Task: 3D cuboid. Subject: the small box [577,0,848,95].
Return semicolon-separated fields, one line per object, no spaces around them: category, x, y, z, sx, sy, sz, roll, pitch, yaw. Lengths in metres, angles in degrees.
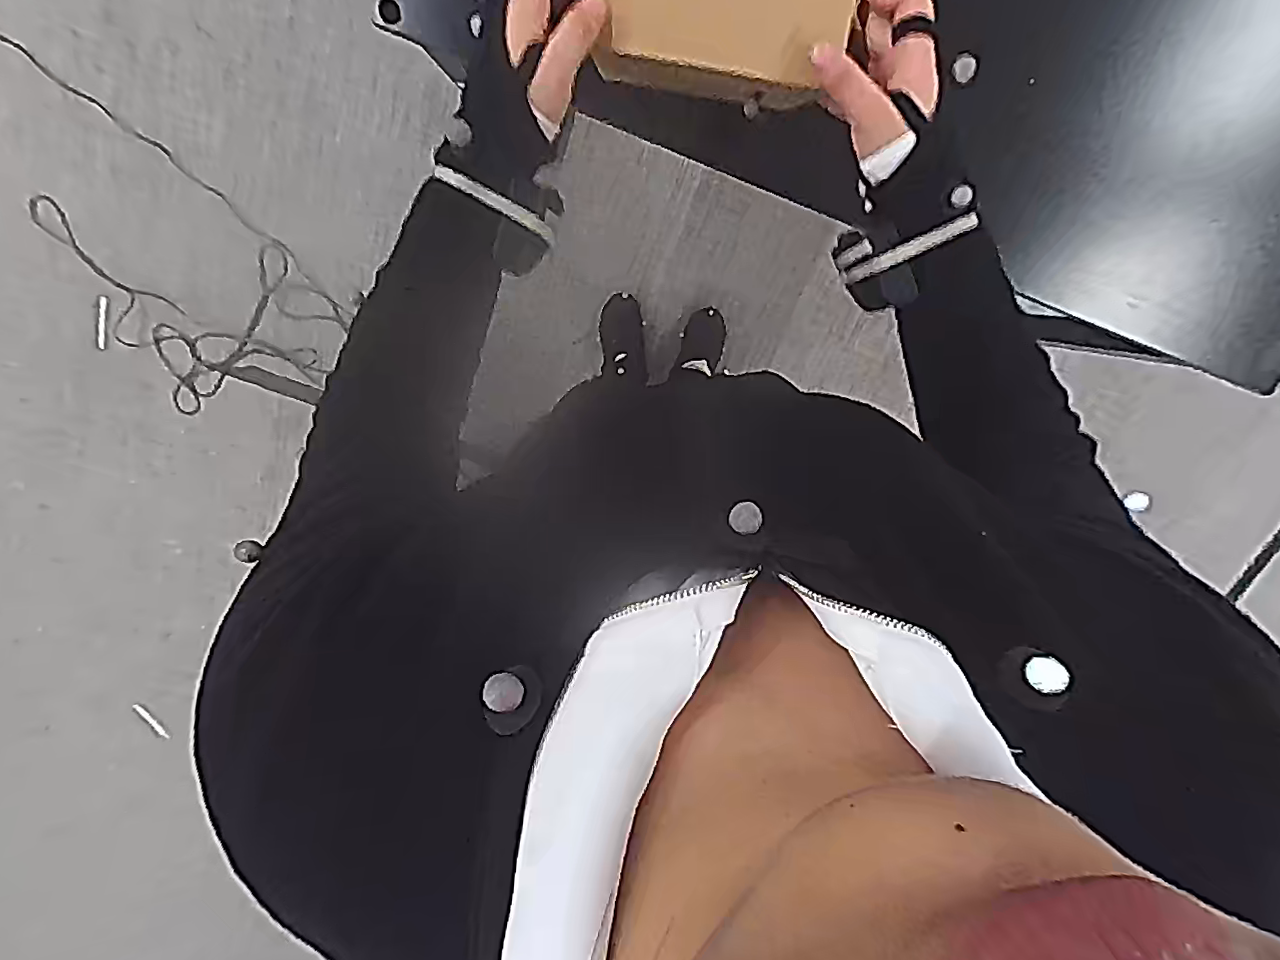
small box;0.056;-0.397;0.393;0.179;0.176;0.168;7;120;-3
